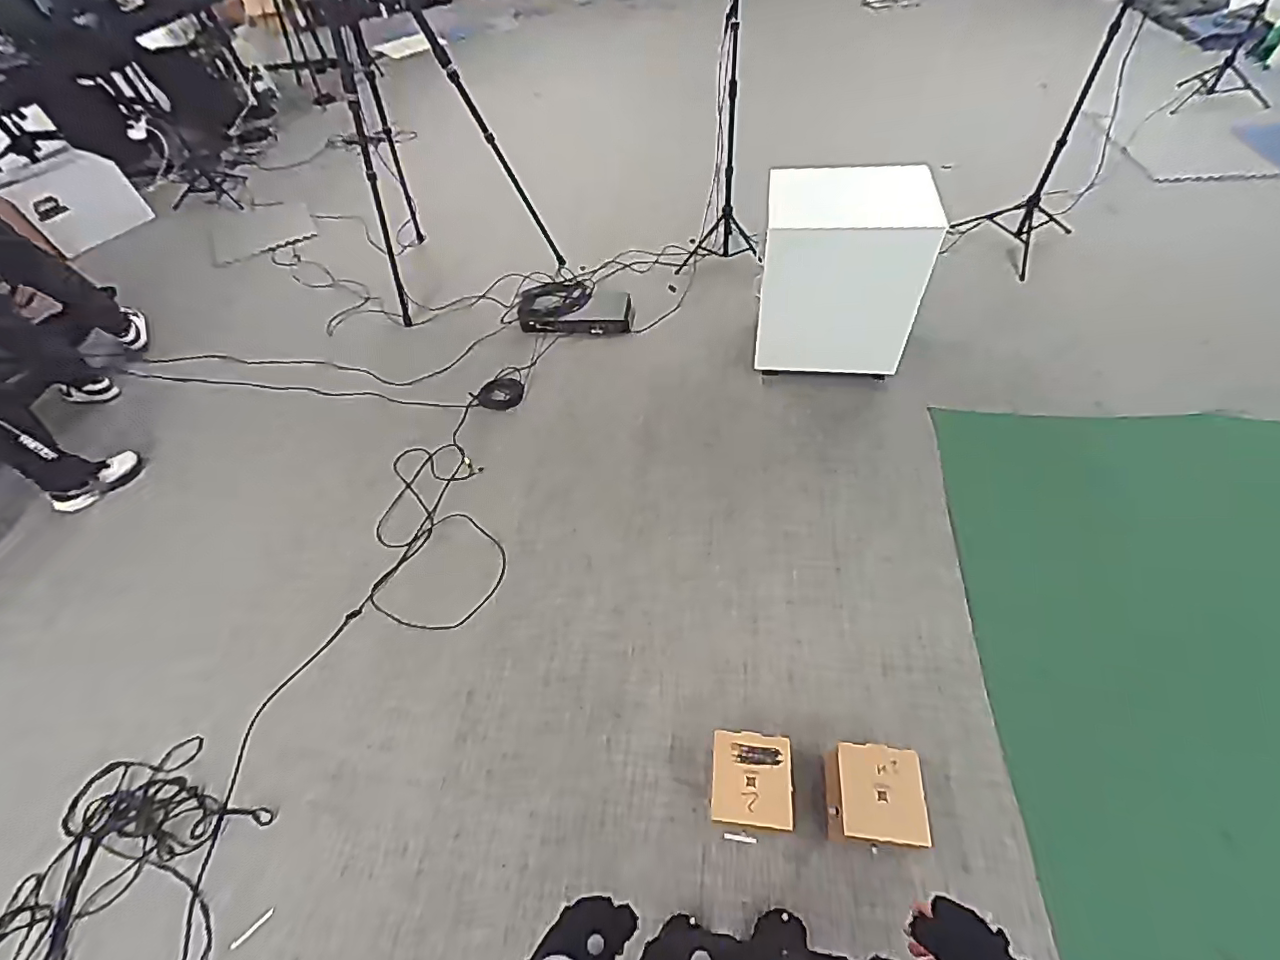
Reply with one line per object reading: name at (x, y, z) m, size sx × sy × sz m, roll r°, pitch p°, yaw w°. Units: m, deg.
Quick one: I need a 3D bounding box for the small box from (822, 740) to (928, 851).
small box at (0.496, 0.682, 1.164) m, size 0.168 × 0.176 × 0.179 m, roll 4°, pitch 53°, yaw 8°
